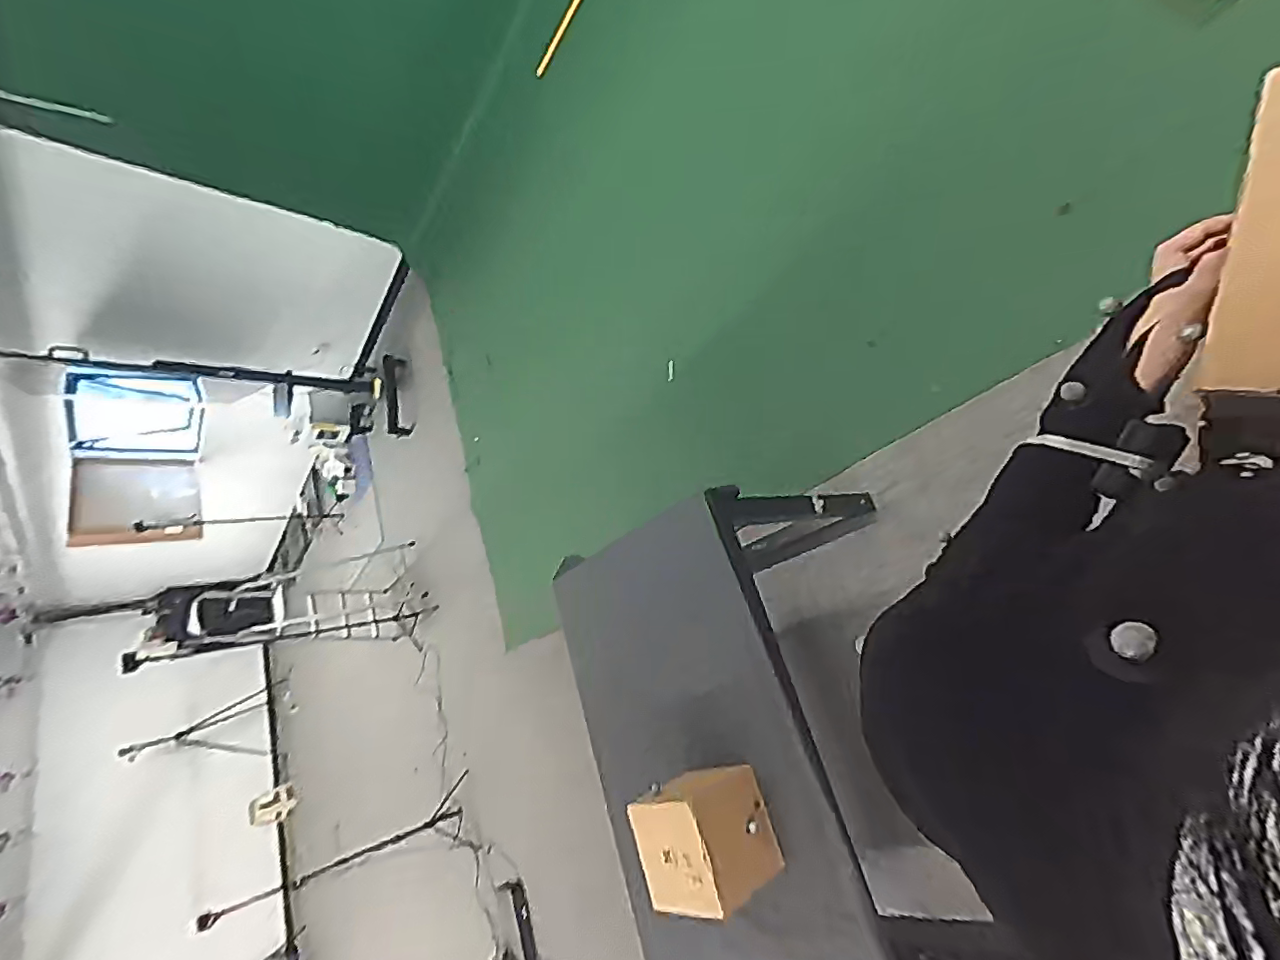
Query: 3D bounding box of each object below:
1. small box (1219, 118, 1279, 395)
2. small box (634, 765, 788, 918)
[{"bbox_3d":[0.450,-0.136,0.292,0.168,0.176,0.179,14,103,47],"label":"small box"},{"bbox_3d":[0.123,0.622,0.948,0.179,0.176,0.168,-37,65,41],"label":"small box"}]
